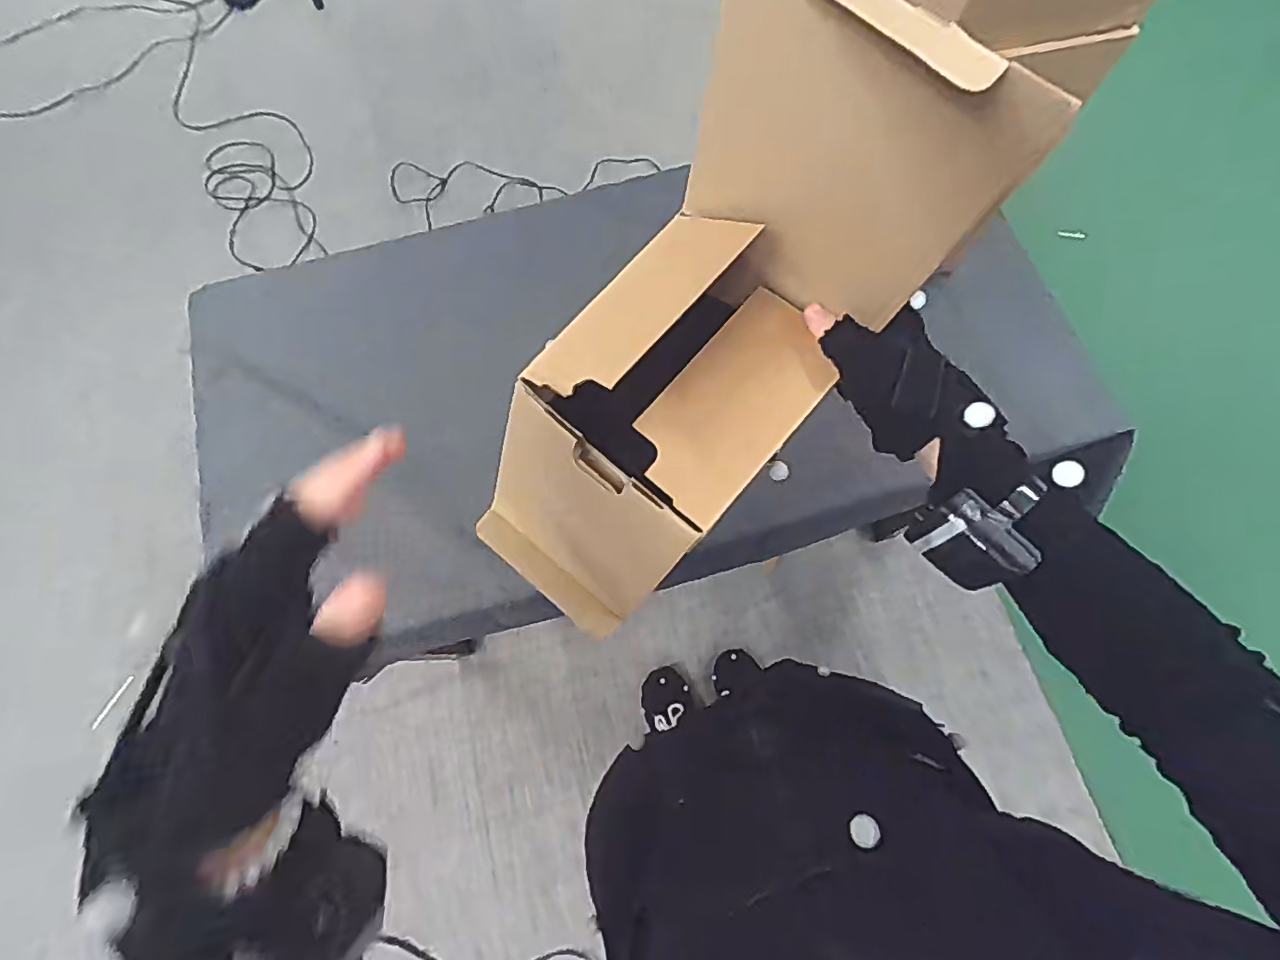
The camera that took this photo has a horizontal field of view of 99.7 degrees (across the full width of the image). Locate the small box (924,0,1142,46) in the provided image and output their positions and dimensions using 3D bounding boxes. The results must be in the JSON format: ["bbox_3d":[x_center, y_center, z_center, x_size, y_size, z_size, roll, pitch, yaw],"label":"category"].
[{"bbox_3d":[0.328,-0.478,0.415,0.179,0.176,0.168,-8,73,1],"label":"small box"}]

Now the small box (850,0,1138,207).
[{"bbox_3d":[0.343,-0.428,0.569,0.168,0.176,0.179,-10,73,1],"label":"small box"}]
